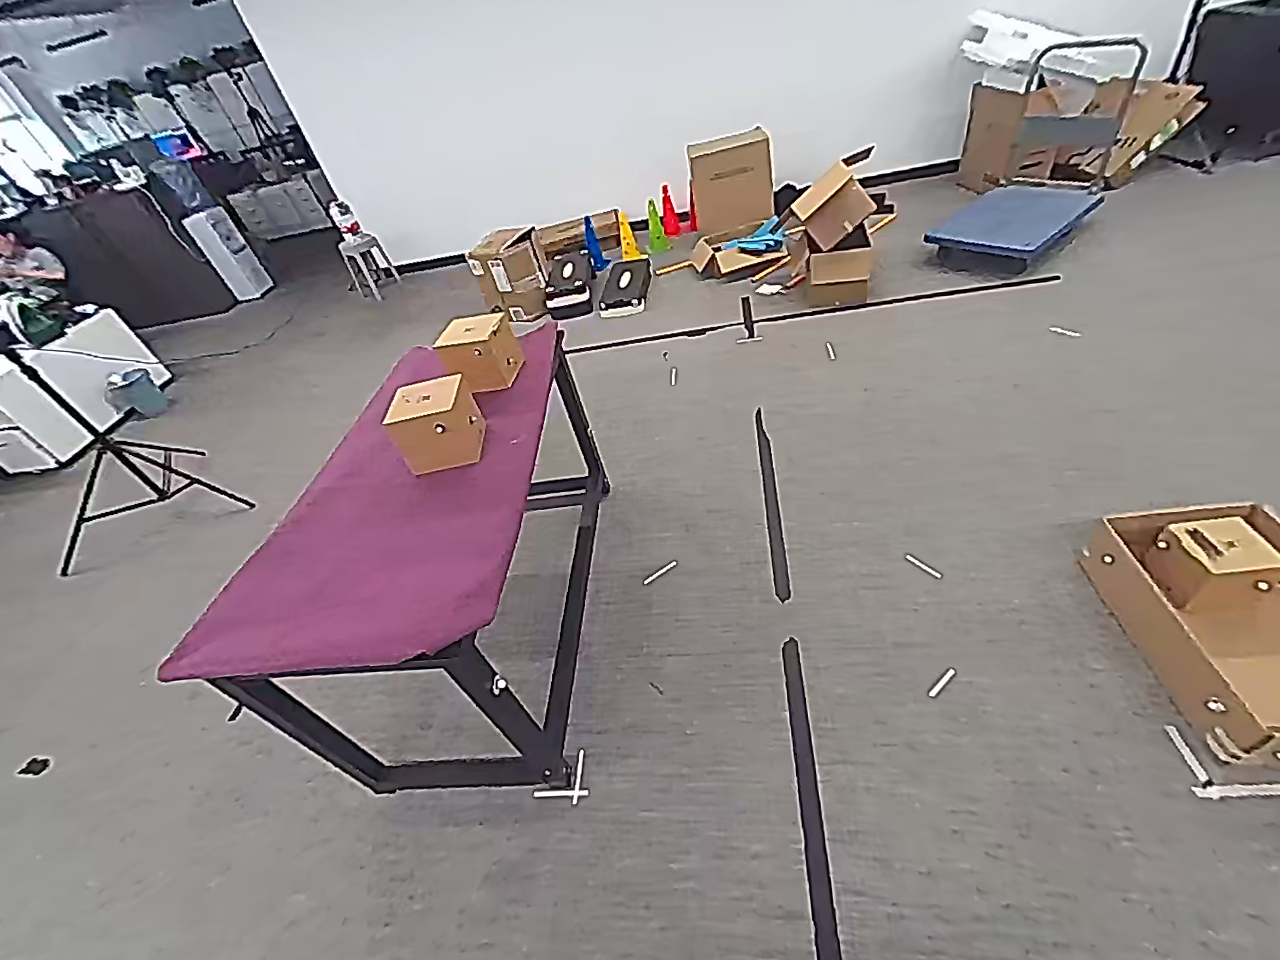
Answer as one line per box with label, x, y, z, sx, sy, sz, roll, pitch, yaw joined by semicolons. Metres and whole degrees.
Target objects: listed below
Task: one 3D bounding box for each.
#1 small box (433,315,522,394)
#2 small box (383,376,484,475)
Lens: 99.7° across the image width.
small box;-0.483;-0.374;1.633;0.179;0.176;0.168;-4;43;14
small box;-0.516;-0.137;1.384;0.179;0.176;0.168;-13;41;4
